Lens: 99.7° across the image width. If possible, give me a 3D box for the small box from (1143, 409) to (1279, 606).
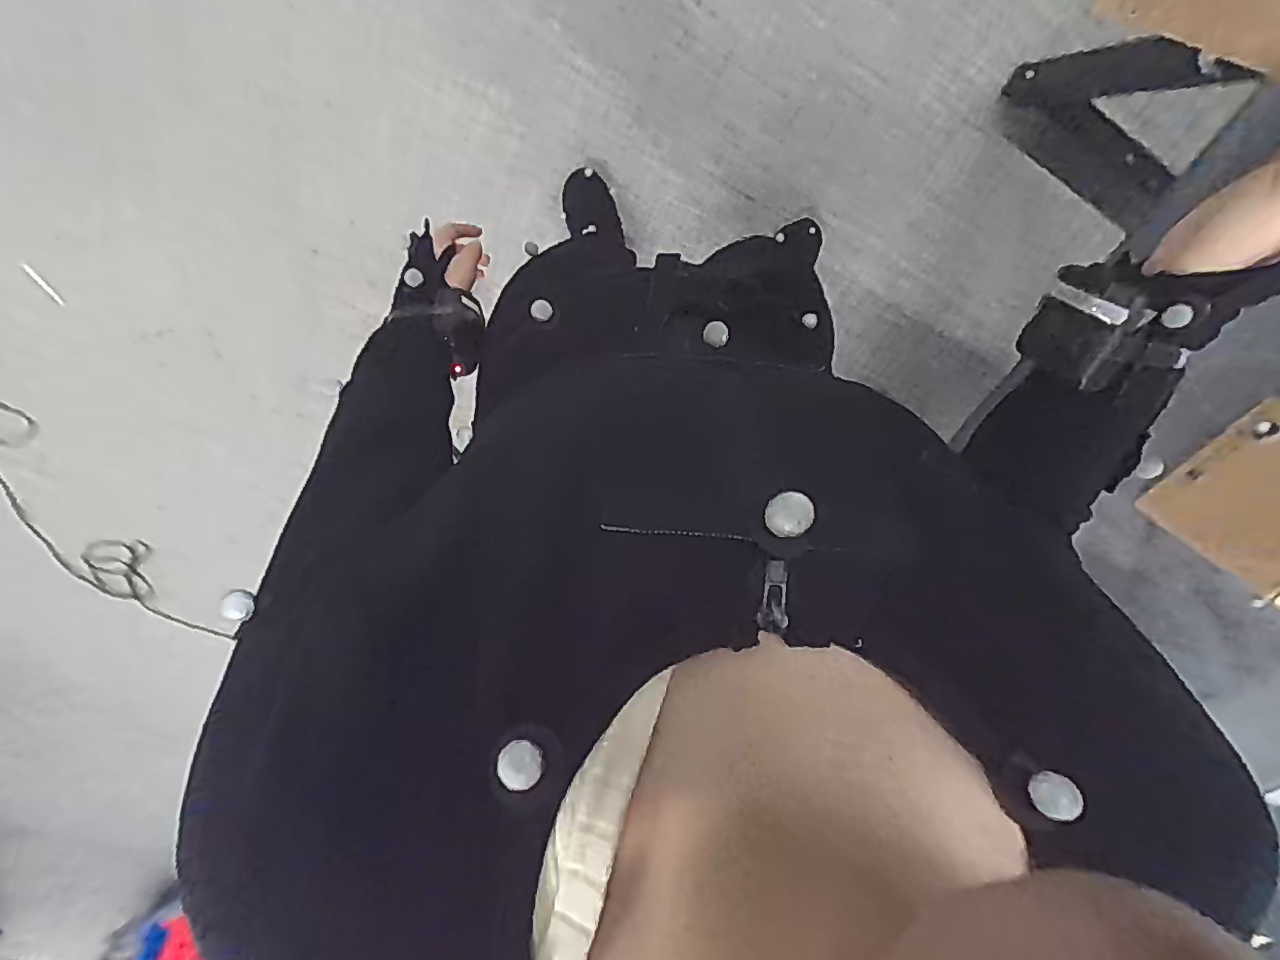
[{"bbox_3d":[0.713,0.045,0.576,0.179,0.176,0.168,26,118,-17],"label":"small box"}]
